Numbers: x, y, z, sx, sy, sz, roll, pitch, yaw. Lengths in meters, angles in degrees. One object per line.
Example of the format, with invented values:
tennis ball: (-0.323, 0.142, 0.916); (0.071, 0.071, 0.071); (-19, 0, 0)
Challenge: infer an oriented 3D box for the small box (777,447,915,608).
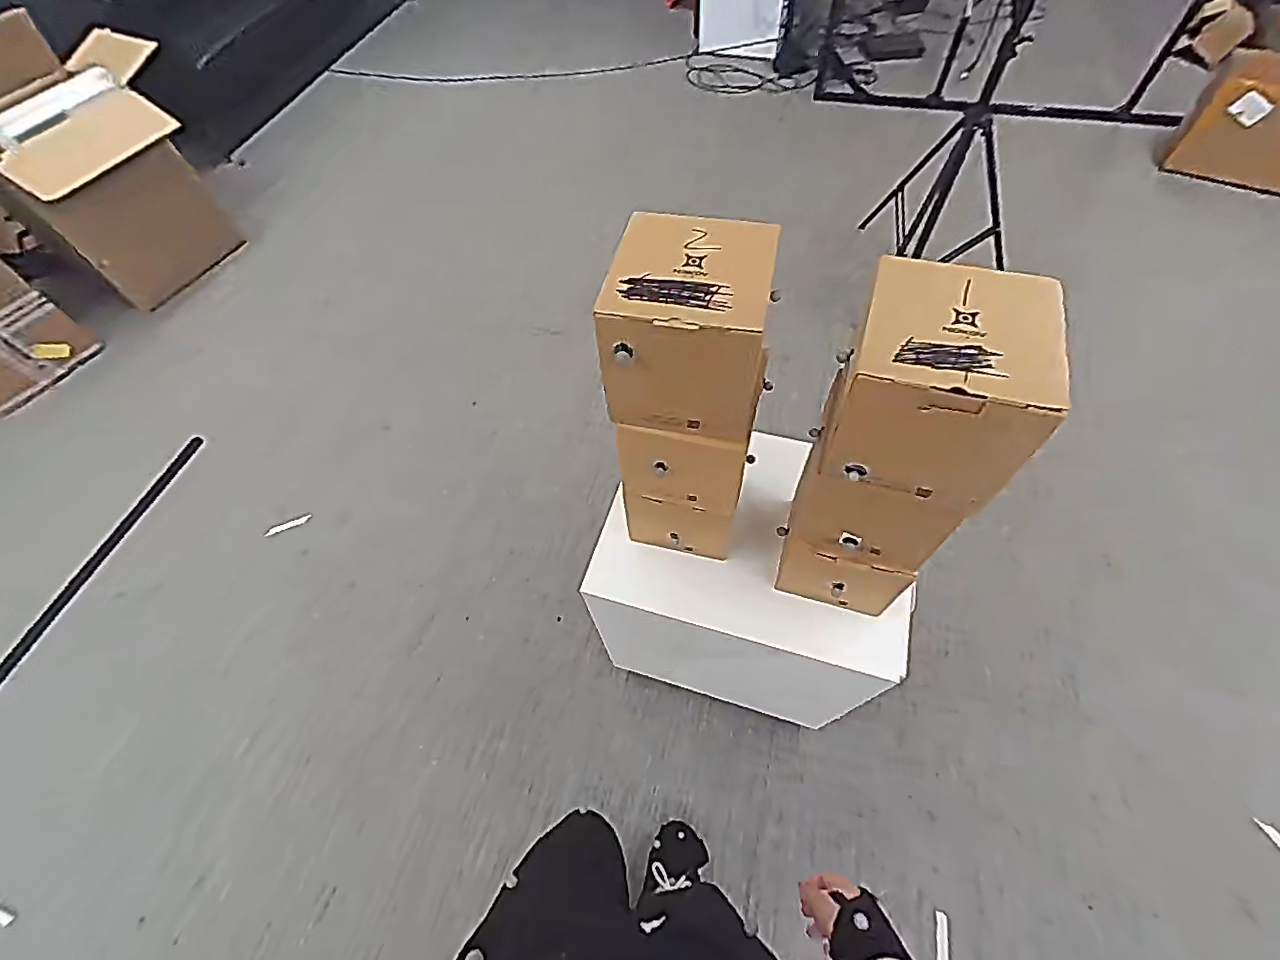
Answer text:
small box: (0.315, 0.078, 0.831); (0.168, 0.176, 0.179); (14, 62, 12)

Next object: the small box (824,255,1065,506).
small box: (0.297, -0.097, 0.556); (0.168, 0.176, 0.179); (15, 59, 14)

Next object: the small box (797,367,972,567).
small box: (0.308, -0.014, 0.698); (0.168, 0.176, 0.179); (13, 61, 14)

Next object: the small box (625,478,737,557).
small box: (0.080, 0.002, 0.893); (0.168, 0.176, 0.179); (11, 61, 10)

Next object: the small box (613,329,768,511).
small box: (0.073, -0.079, 0.753); (0.168, 0.176, 0.179); (12, 60, 10)
